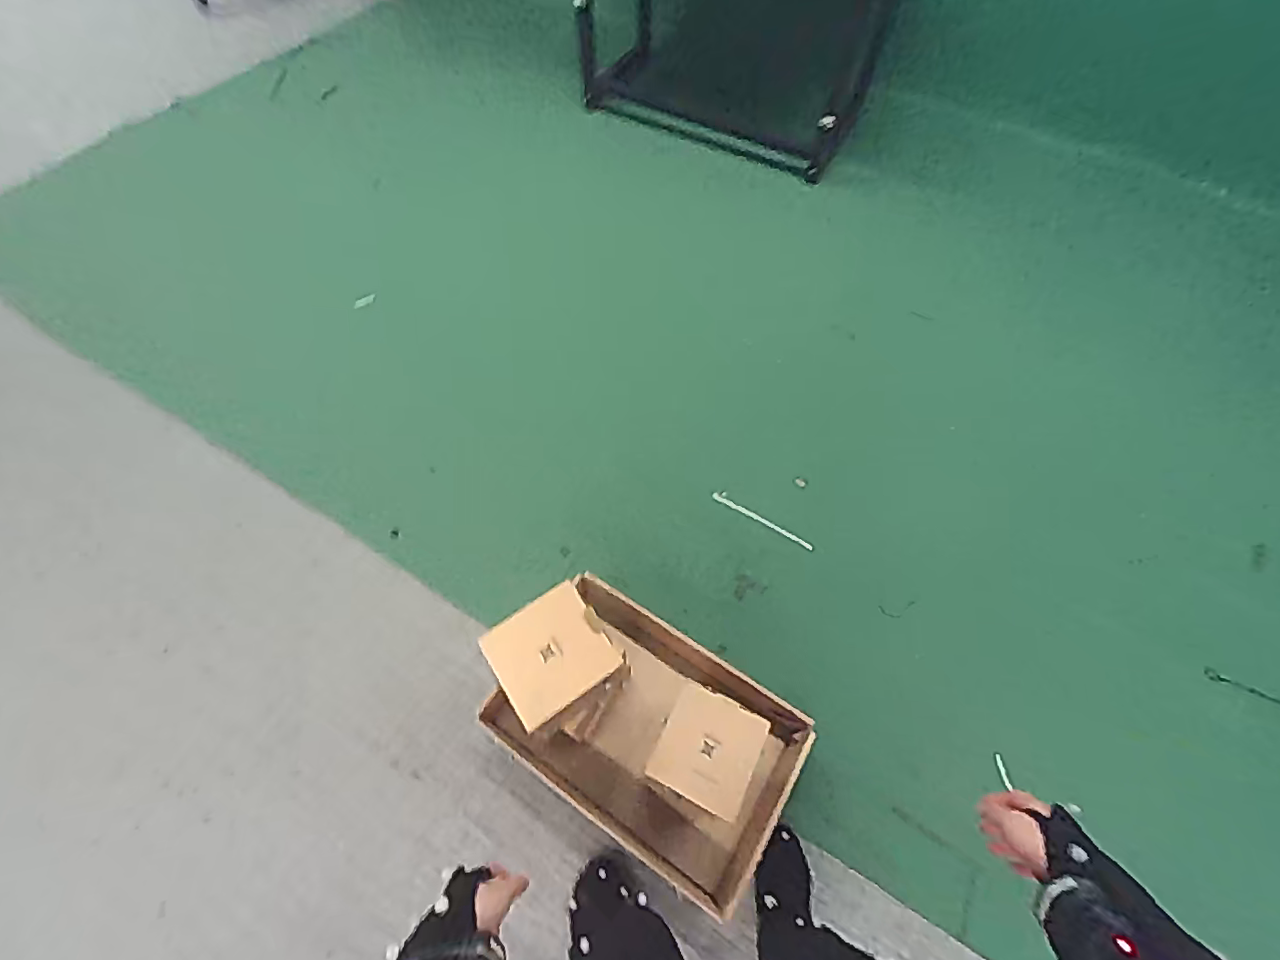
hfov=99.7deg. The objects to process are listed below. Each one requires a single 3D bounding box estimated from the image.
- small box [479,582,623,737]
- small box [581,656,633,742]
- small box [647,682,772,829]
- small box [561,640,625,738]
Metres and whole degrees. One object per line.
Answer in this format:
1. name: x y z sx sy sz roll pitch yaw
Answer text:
1. small box: -0.139 0.308 0.910 0.179 0.176 0.168 -32 66 -17
2. small box: -0.130 0.454 1.201 0.168 0.176 0.179 28 64 14
3. small box: 0.123 0.501 0.994 0.168 0.176 0.179 23 66 15
4. small box: -0.139 0.380 1.056 0.168 0.176 0.179 30 64 14
